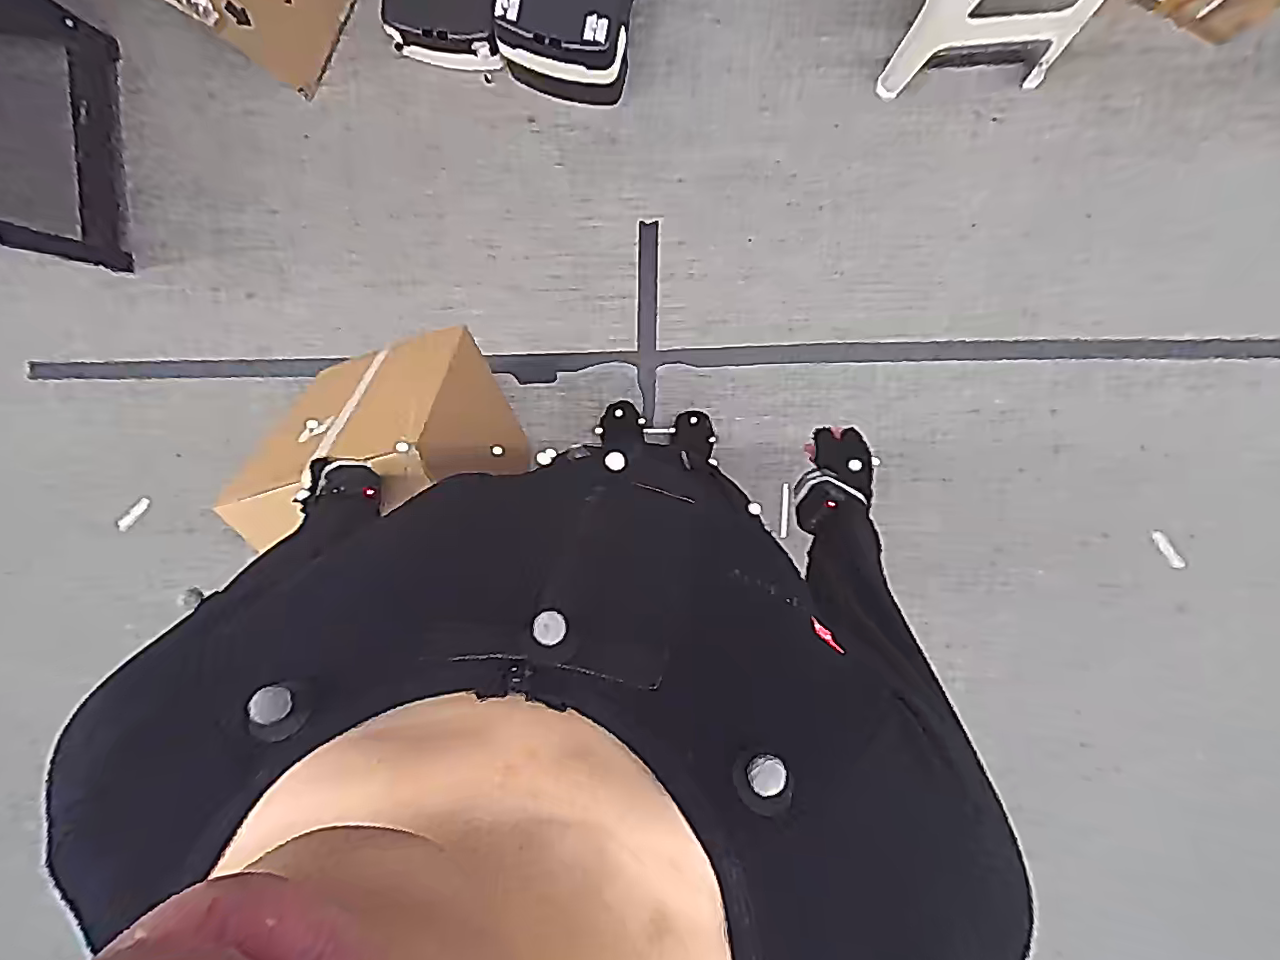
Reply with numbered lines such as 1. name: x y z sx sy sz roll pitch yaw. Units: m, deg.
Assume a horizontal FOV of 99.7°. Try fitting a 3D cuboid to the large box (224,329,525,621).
1. large box: -0.421 -0.019 0.989 0.320 0.408 0.320 -16 129 7
